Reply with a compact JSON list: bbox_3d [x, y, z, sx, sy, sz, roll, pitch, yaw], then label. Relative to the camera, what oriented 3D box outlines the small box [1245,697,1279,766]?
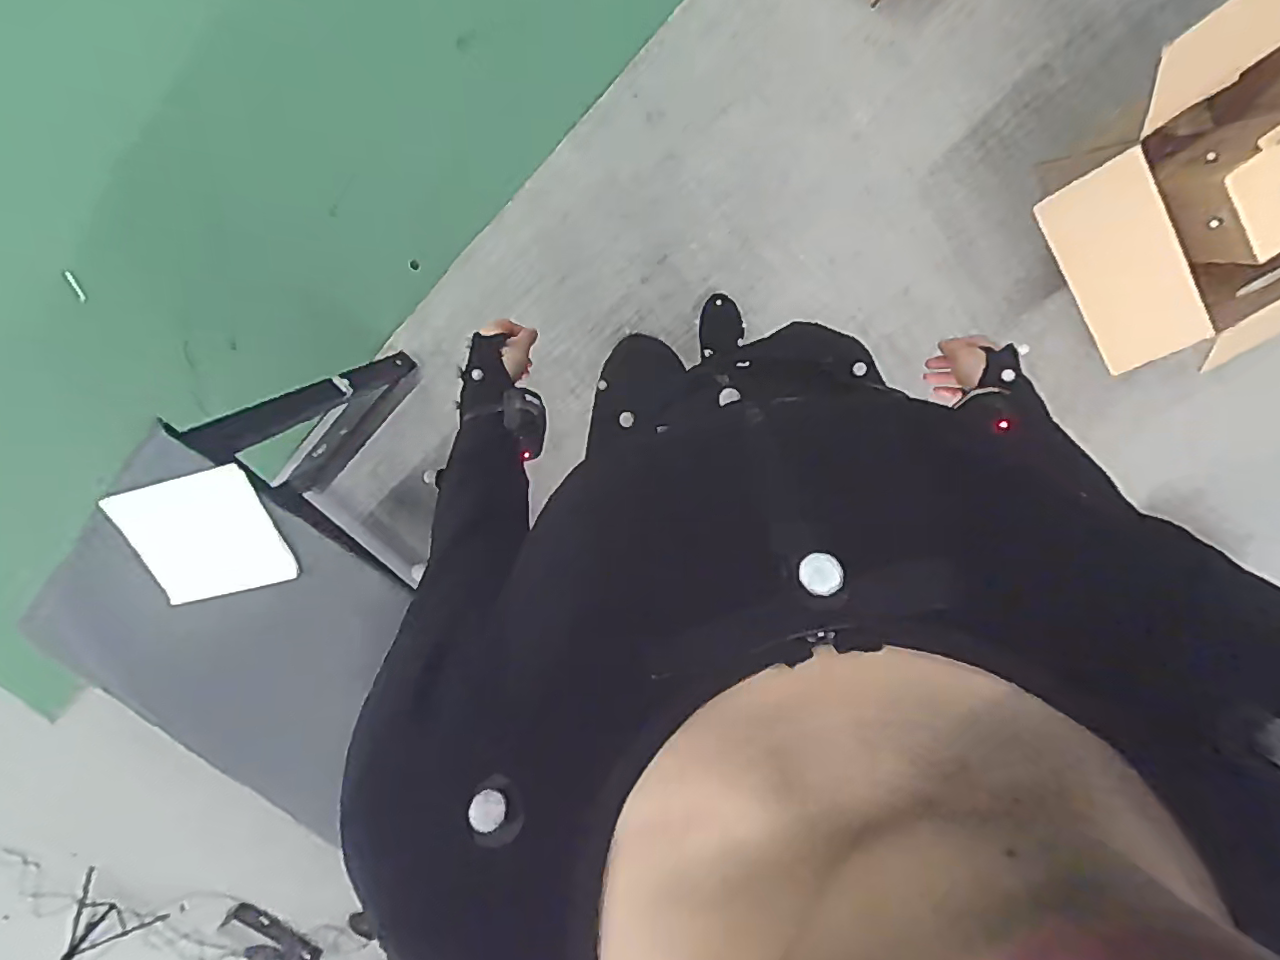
[{"bbox_3d":[1.377,0.535,1.061,0.168,0.176,0.179,-38,106,18],"label":"small box"}]

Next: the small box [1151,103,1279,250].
[{"bbox_3d":[1.069,-0.529,0.950,0.168,0.176,0.179,-37,105,20],"label":"small box"}]
